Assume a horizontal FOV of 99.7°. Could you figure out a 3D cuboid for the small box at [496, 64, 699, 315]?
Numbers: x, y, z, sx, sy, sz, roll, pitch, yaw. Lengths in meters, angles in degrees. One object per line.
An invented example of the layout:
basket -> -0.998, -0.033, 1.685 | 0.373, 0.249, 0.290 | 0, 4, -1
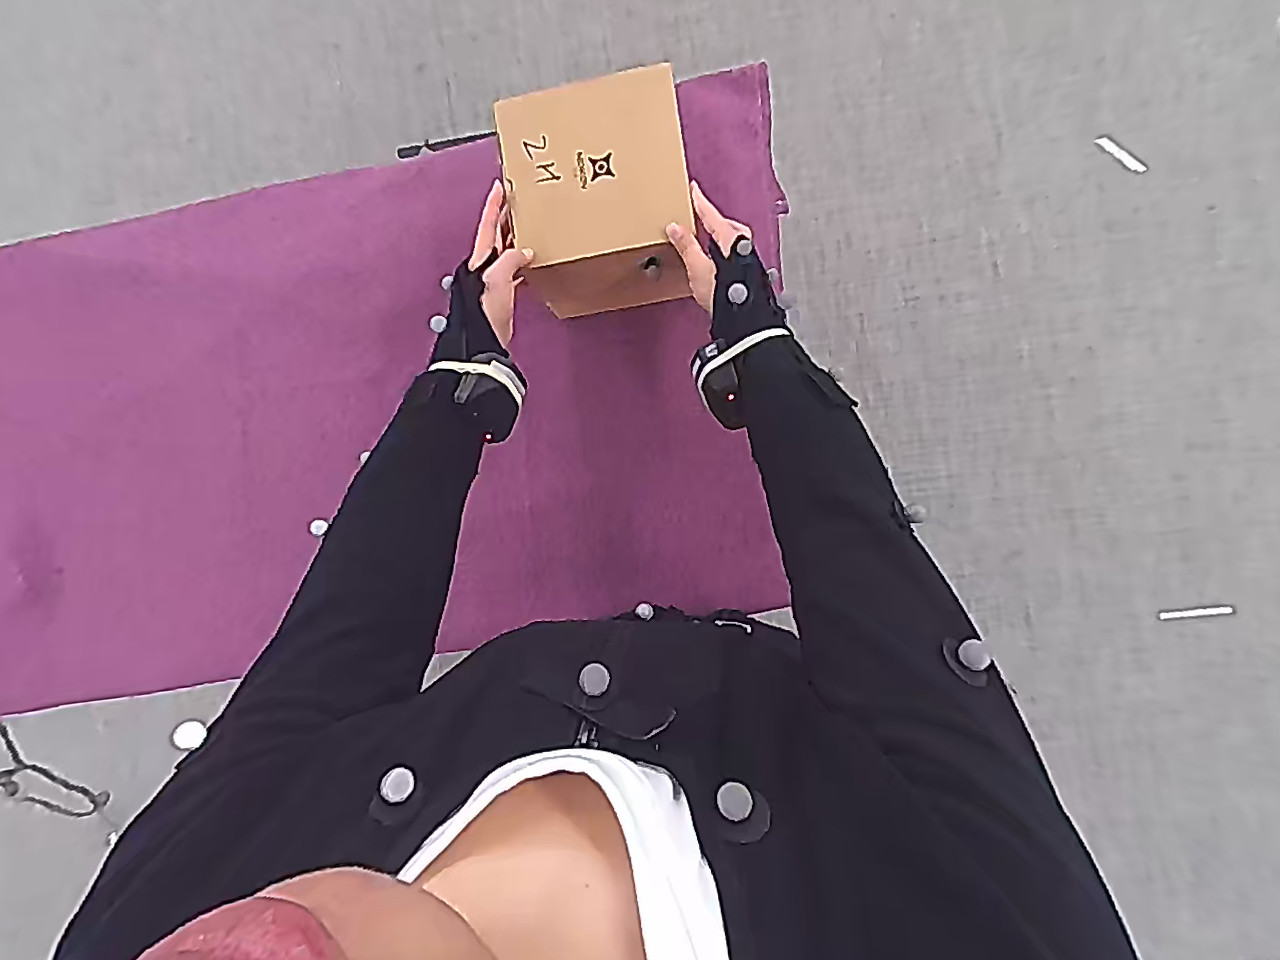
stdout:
small box -> -0.034, -0.293, 0.585 | 0.179, 0.176, 0.168 | -8, 89, 6
